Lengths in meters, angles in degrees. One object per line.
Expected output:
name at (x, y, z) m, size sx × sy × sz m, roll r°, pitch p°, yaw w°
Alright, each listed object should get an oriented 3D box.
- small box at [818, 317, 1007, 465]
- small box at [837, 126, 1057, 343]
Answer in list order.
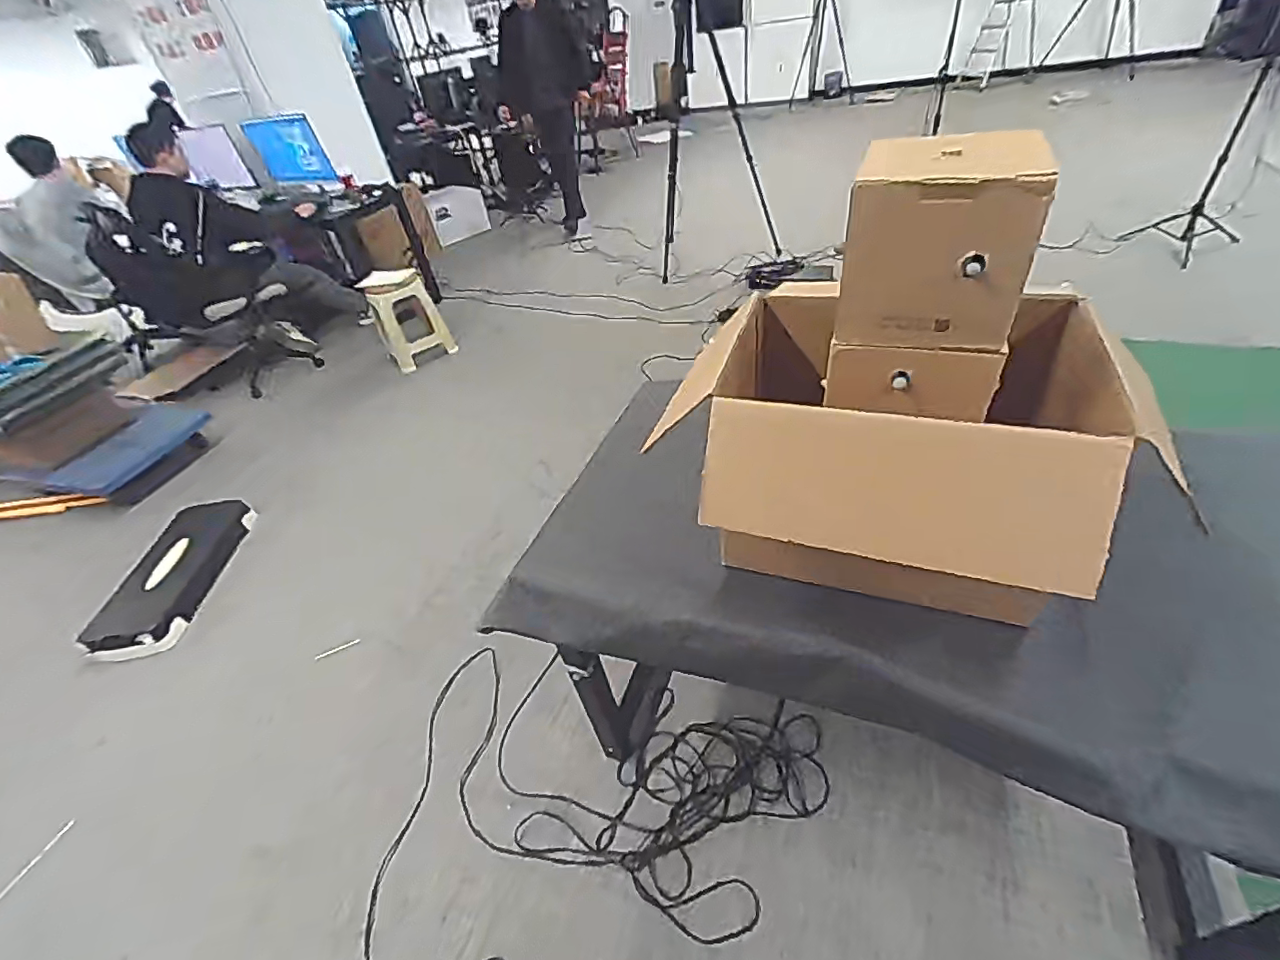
small box at (0.335, -0.138, 0.688) m, size 0.179 × 0.176 × 0.168 m, roll 9°, pitch 44°, yaw 21°
small box at (0.317, -0.264, 0.587) m, size 0.168 × 0.176 × 0.179 m, roll 11°, pitch 44°, yaw 21°
